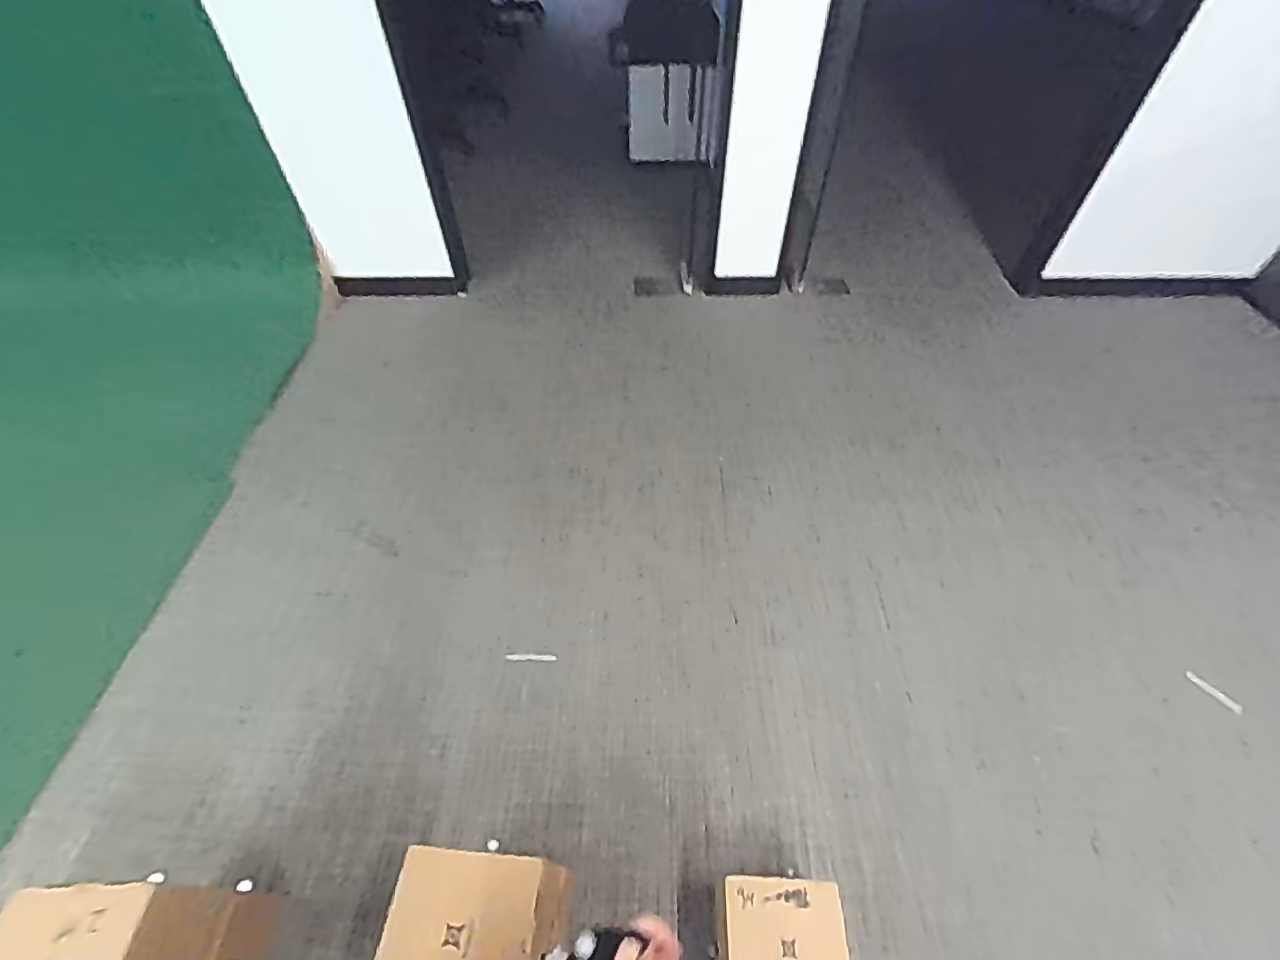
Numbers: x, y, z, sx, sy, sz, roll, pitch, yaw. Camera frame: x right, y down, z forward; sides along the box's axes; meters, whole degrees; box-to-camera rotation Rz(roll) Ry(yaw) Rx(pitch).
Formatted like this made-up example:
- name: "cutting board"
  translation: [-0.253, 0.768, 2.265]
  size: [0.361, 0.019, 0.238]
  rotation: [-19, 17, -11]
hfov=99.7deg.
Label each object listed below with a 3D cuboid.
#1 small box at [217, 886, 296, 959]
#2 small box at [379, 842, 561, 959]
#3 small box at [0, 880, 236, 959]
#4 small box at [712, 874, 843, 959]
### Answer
- name: "small box"
  translation: [-0.658, 0.719, 0.807]
  size: [0.168, 0.176, 0.179]
  rotation: [0, 50, 0]
- name: "small box"
  translation: [-0.210, 0.585, 0.697]
  size: [0.179, 0.176, 0.168]
  rotation: [3, 50, 4]
- name: "small box"
  translation: [-0.662, 0.616, 0.679]
  size: [0.168, 0.176, 0.179]
  rotation: [-1, 50, -1]
- name: "small box"
  translation: [0.198, 0.703, 0.803]
  size: [0.168, 0.176, 0.179]
  rotation: [3, 51, 3]
